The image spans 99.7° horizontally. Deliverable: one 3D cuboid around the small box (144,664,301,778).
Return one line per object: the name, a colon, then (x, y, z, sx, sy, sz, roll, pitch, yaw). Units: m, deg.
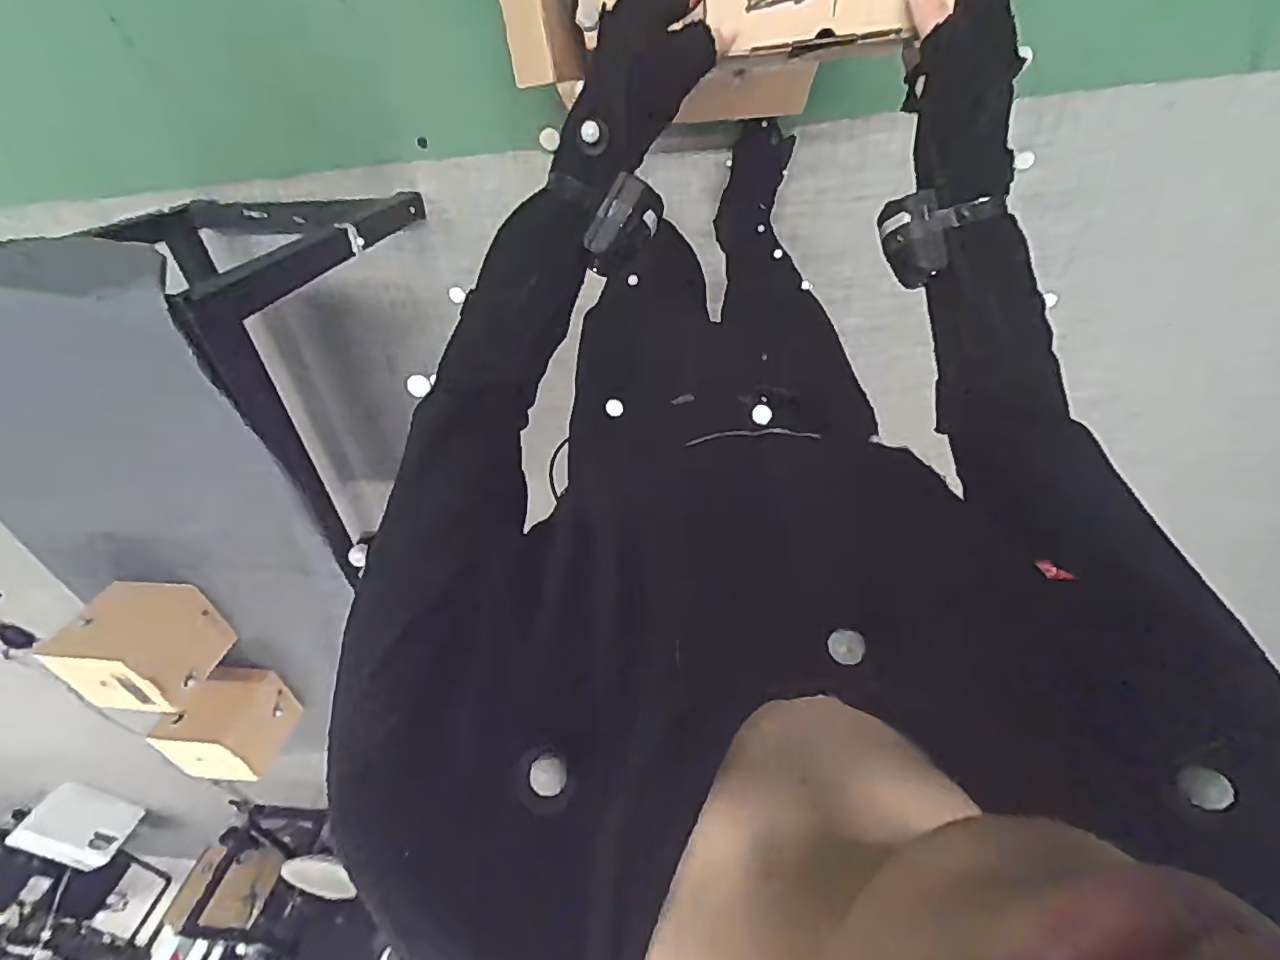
small box: (-0.896, 0.522, 1.182, 0.179, 0.176, 0.168, 1, 128, 6)

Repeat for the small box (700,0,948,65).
small box: (0.128, -0.425, 0.399, 0.168, 0.176, 0.179, -2, 123, 6)
